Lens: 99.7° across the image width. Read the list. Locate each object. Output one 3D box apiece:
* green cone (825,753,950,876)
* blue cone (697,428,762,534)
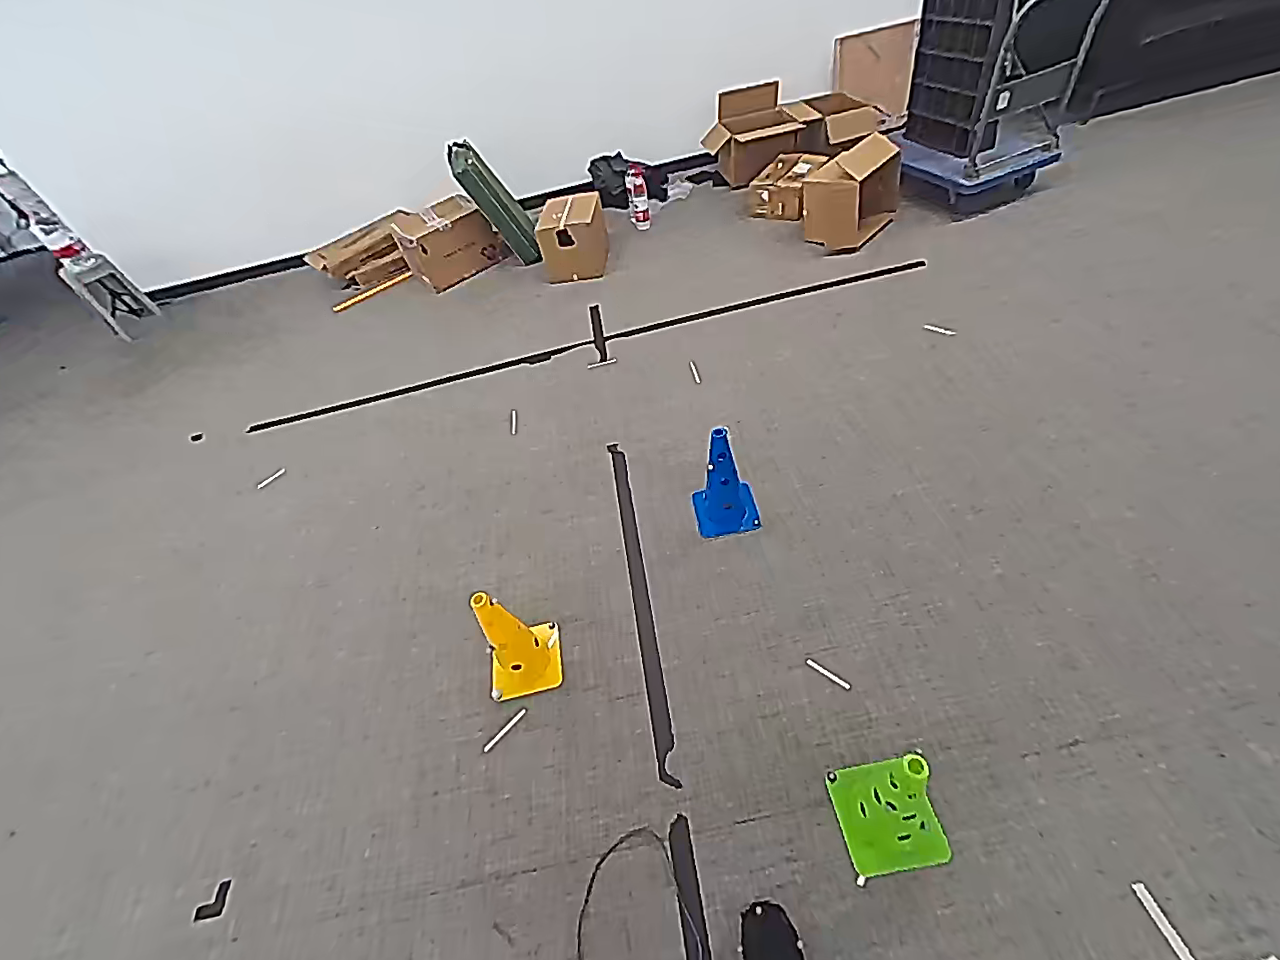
[{"bbox_3d":[0.498,0.604,1.036,0.202,0.368,0.200,-12,47,1],"label":"green cone"},{"bbox_3d":[0.267,-0.013,1.678,0.192,0.380,0.193,-9,47,4],"label":"blue cone"}]
